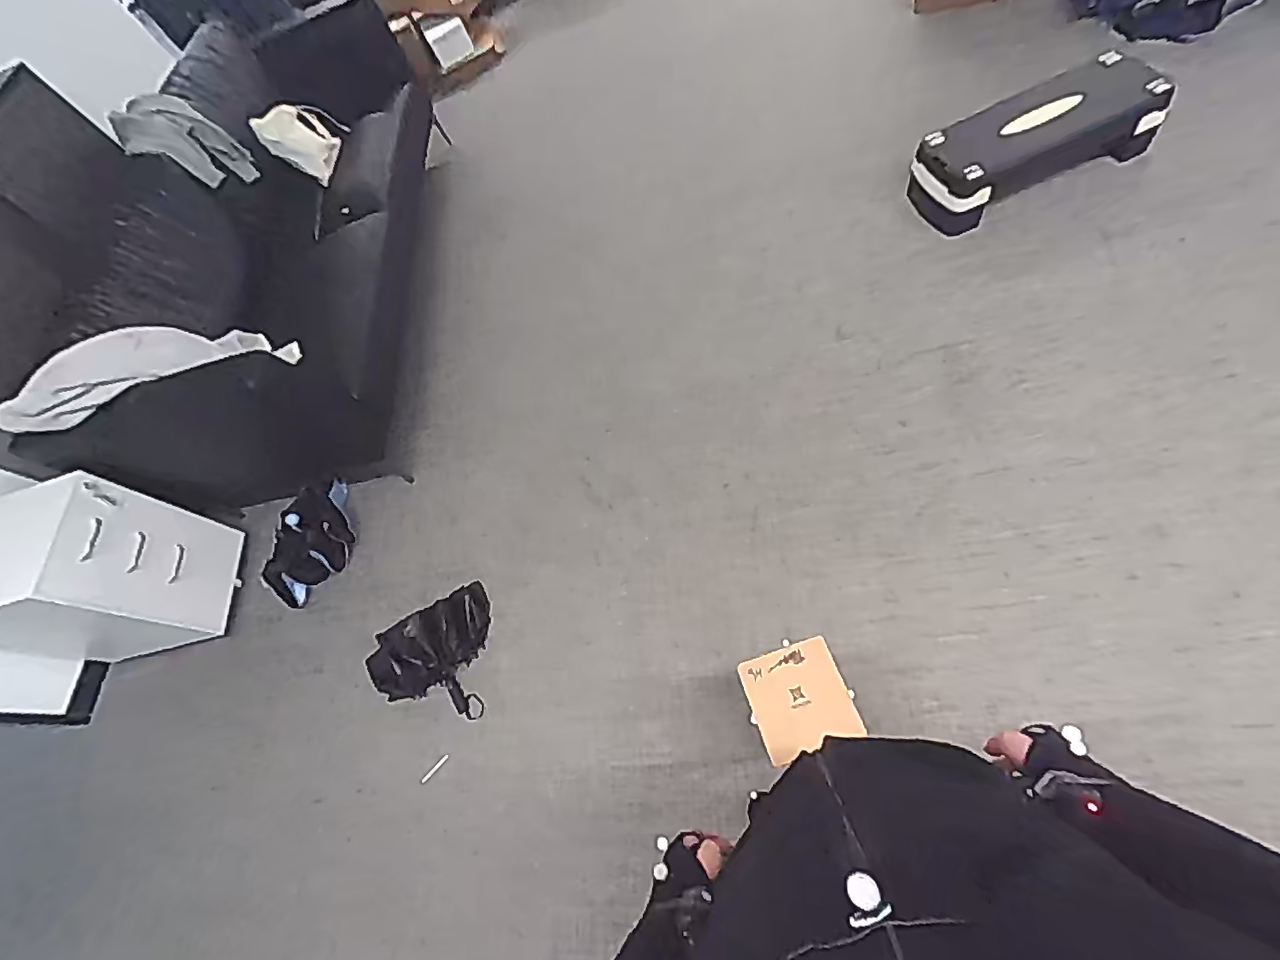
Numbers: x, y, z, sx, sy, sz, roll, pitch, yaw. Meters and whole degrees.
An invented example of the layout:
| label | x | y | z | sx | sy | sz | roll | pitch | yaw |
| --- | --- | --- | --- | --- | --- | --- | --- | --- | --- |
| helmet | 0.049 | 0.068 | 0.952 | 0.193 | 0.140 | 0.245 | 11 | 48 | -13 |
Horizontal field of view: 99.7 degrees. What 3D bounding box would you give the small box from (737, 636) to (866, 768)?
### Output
| label | x | y | z | sx | sy | sz | roll | pitch | yaw |
| --- | --- | --- | --- | --- | --- | --- | --- | --- | --- |
| small box | 0.294 | 0.406 | 0.994 | 0.168 | 0.176 | 0.179 | -22 | 62 | 7 |
